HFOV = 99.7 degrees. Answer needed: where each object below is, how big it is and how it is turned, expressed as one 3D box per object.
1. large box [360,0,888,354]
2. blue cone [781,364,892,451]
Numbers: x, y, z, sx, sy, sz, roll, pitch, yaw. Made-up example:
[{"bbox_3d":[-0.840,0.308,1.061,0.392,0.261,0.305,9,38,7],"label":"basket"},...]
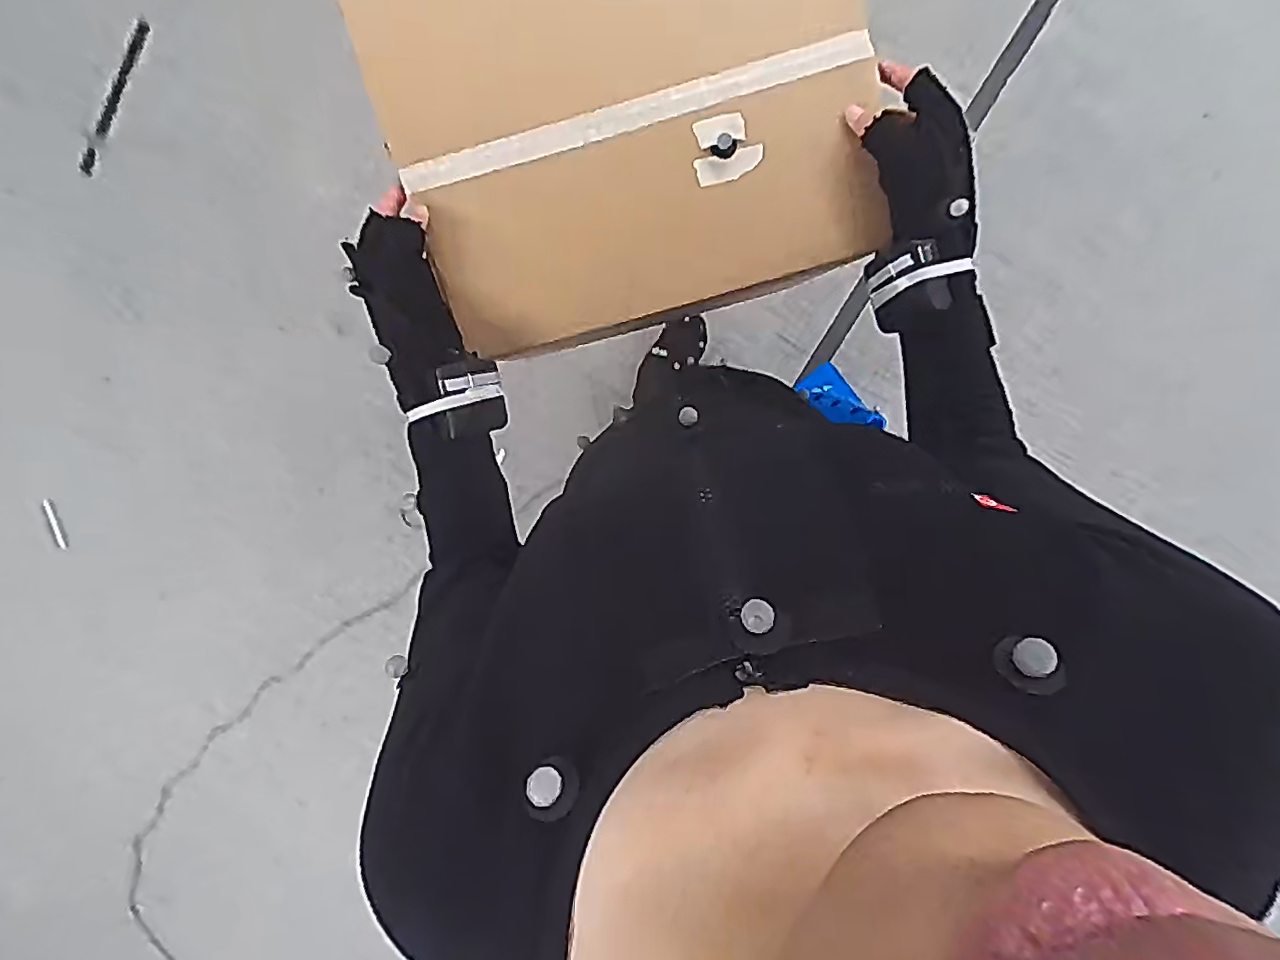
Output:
[{"bbox_3d":[-0.008,-0.348,0.610,0.408,0.320,0.320,-15,103,1],"label":"large box"},{"bbox_3d":[0.487,-0.162,1.273,0.192,0.380,0.193,-38,97,7],"label":"blue cone"}]
